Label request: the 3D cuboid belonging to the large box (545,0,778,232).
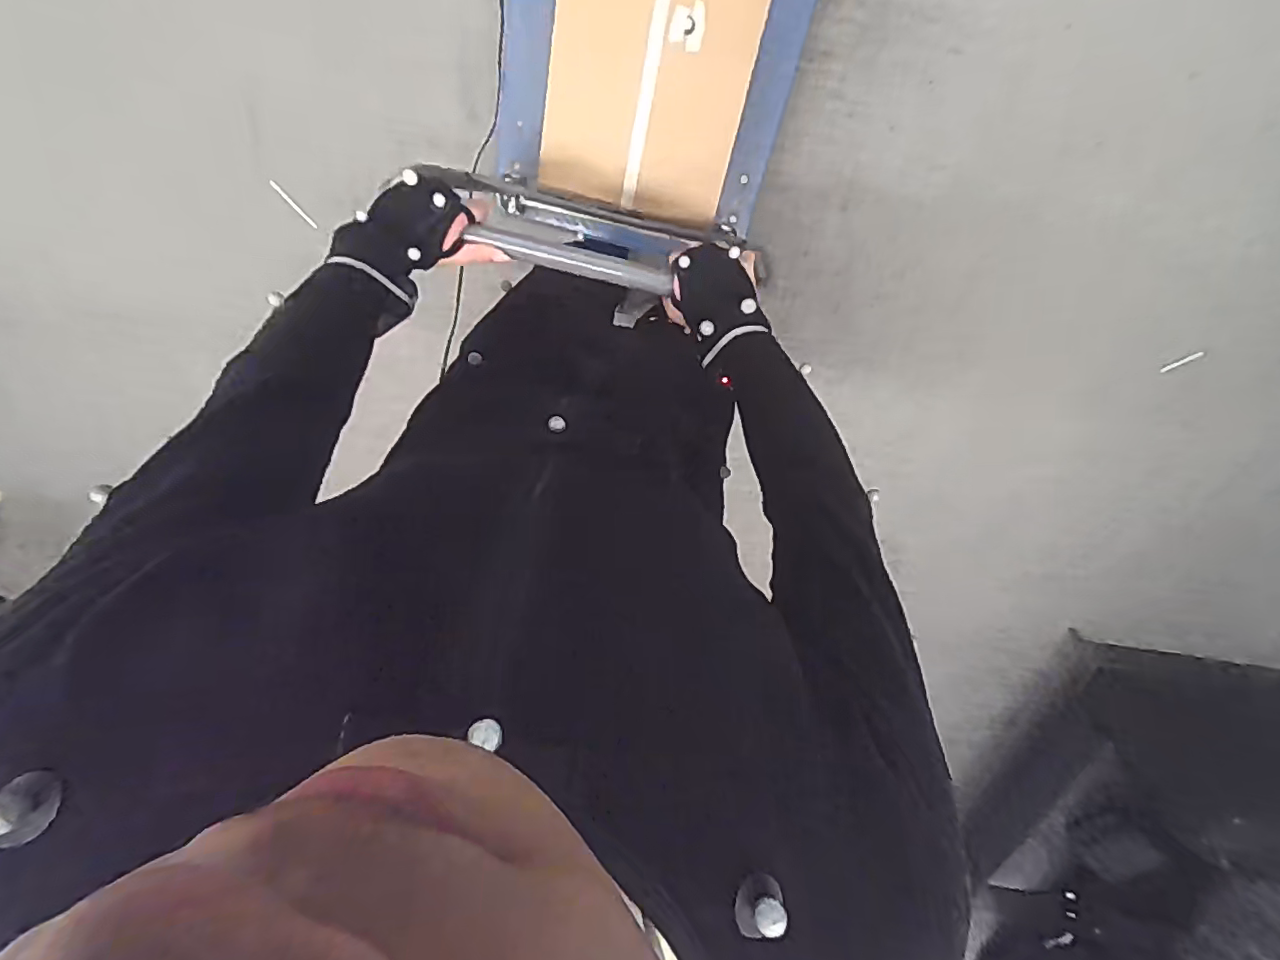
[{"bbox_3d":[0.036,-0.698,0.964,0.320,0.320,0.408,12,119,-3],"label":"large box"}]
